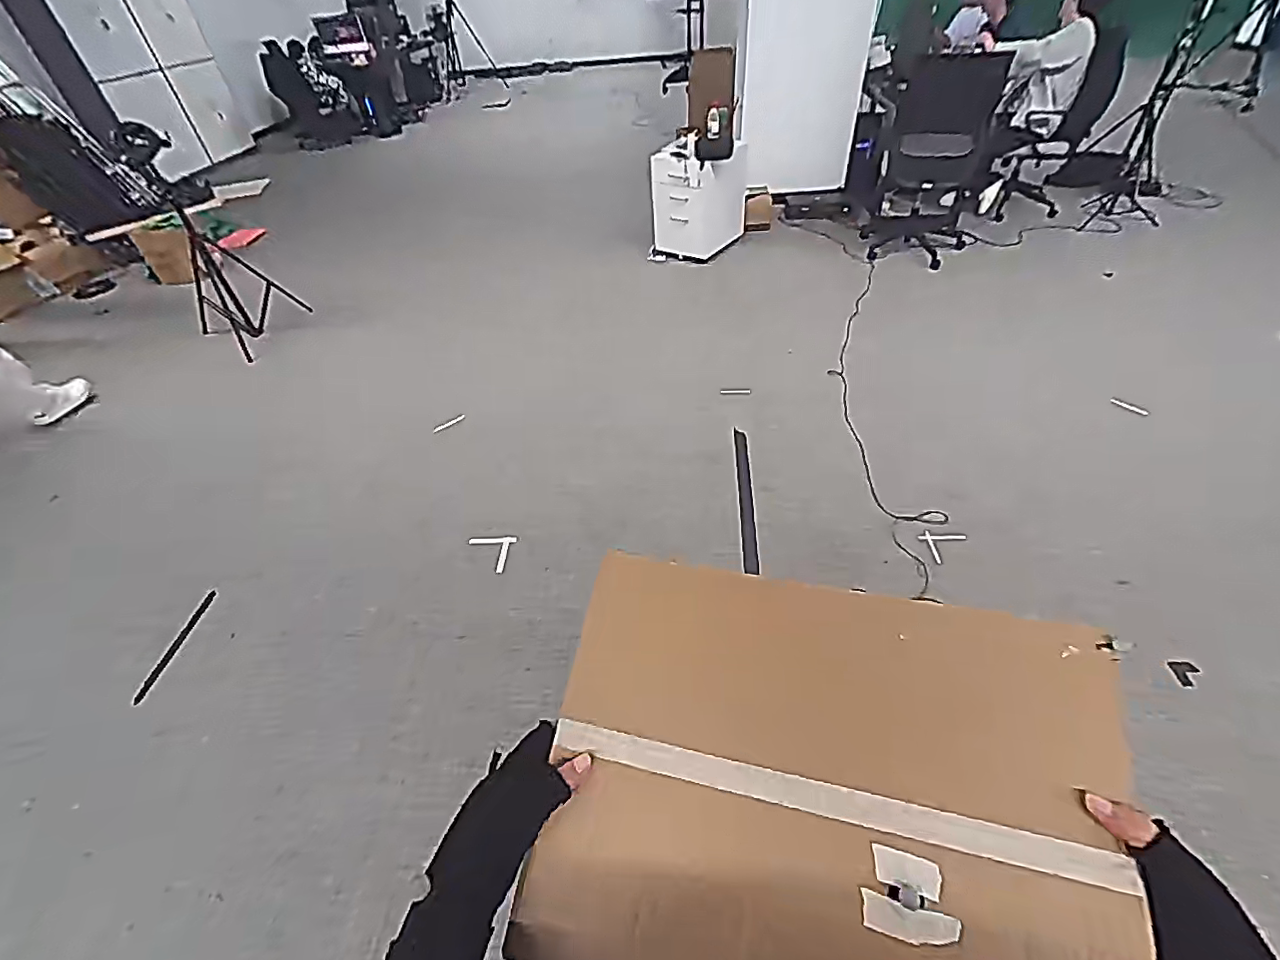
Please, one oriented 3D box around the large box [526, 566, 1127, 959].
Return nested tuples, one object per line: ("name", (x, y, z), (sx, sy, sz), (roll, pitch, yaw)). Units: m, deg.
("large box", (0.157, 0.301, 0.547), (0.408, 0.320, 0.320), (6, 67, 15))
